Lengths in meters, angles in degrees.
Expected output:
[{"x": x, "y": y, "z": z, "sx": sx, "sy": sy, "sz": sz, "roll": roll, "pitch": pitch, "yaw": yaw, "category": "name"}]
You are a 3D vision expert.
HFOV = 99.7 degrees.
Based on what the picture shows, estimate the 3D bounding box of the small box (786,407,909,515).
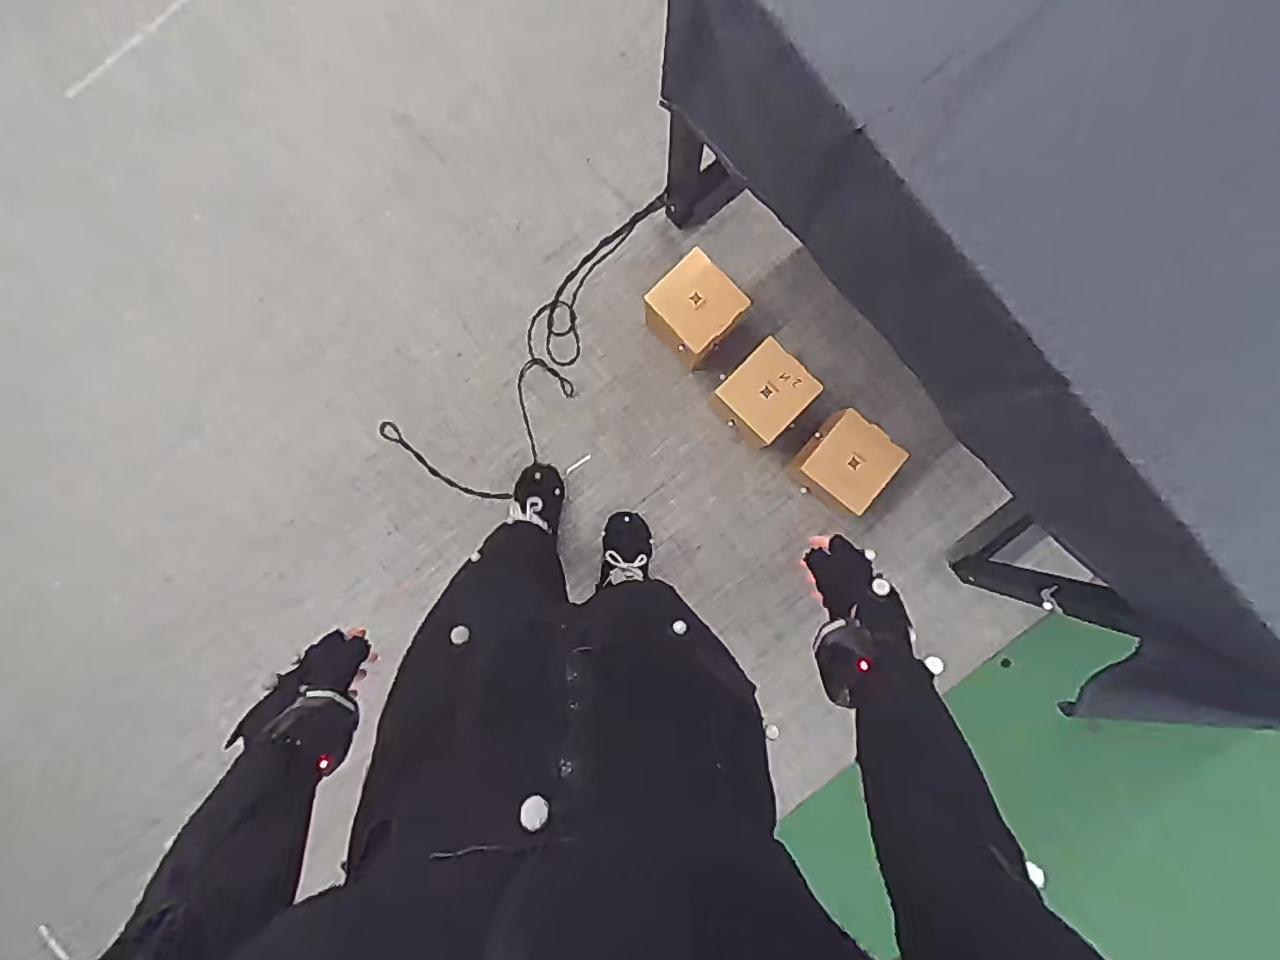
[{"x": 0.462, "y": -0.041, "z": 1.236, "sx": 0.168, "sy": 0.176, "sz": 0.179, "roll": 39, "pitch": 90, "yaw": 1, "category": "small box"}]
